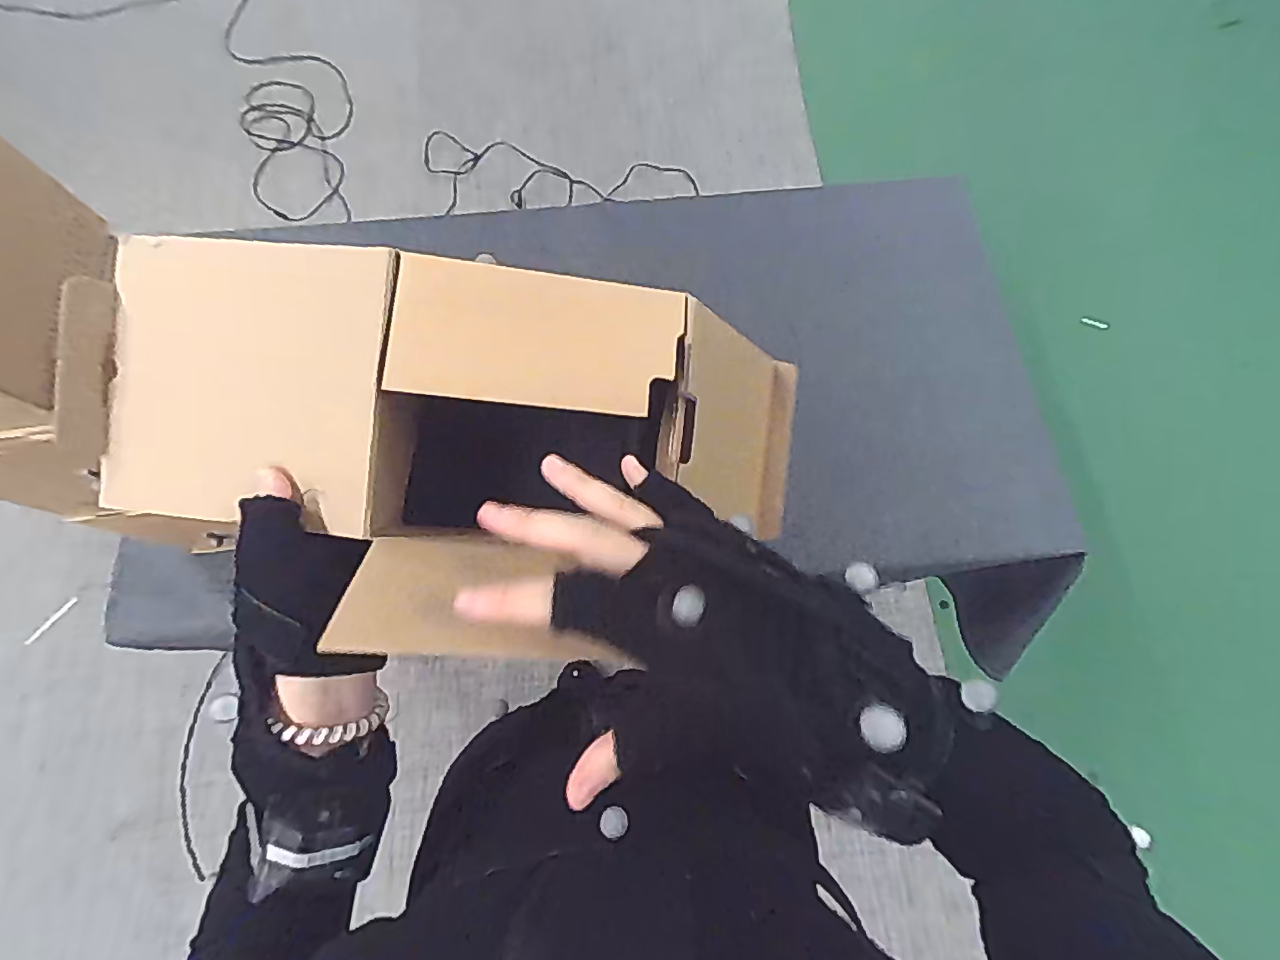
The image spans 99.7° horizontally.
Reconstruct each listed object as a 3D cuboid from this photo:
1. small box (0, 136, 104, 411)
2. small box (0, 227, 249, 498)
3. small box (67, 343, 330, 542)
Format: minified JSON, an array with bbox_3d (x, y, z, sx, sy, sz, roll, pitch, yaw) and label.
[{"bbox_3d":[-0.486,-0.144,0.324,0.168,0.176,0.179,-7,73,-4],"label":"small box"},{"bbox_3d":[-0.486,-0.088,0.478,0.168,0.176,0.179,-6,73,-3],"label":"small box"},{"bbox_3d":[-0.489,-0.035,0.632,0.168,0.176,0.179,-7,73,-2],"label":"small box"}]
